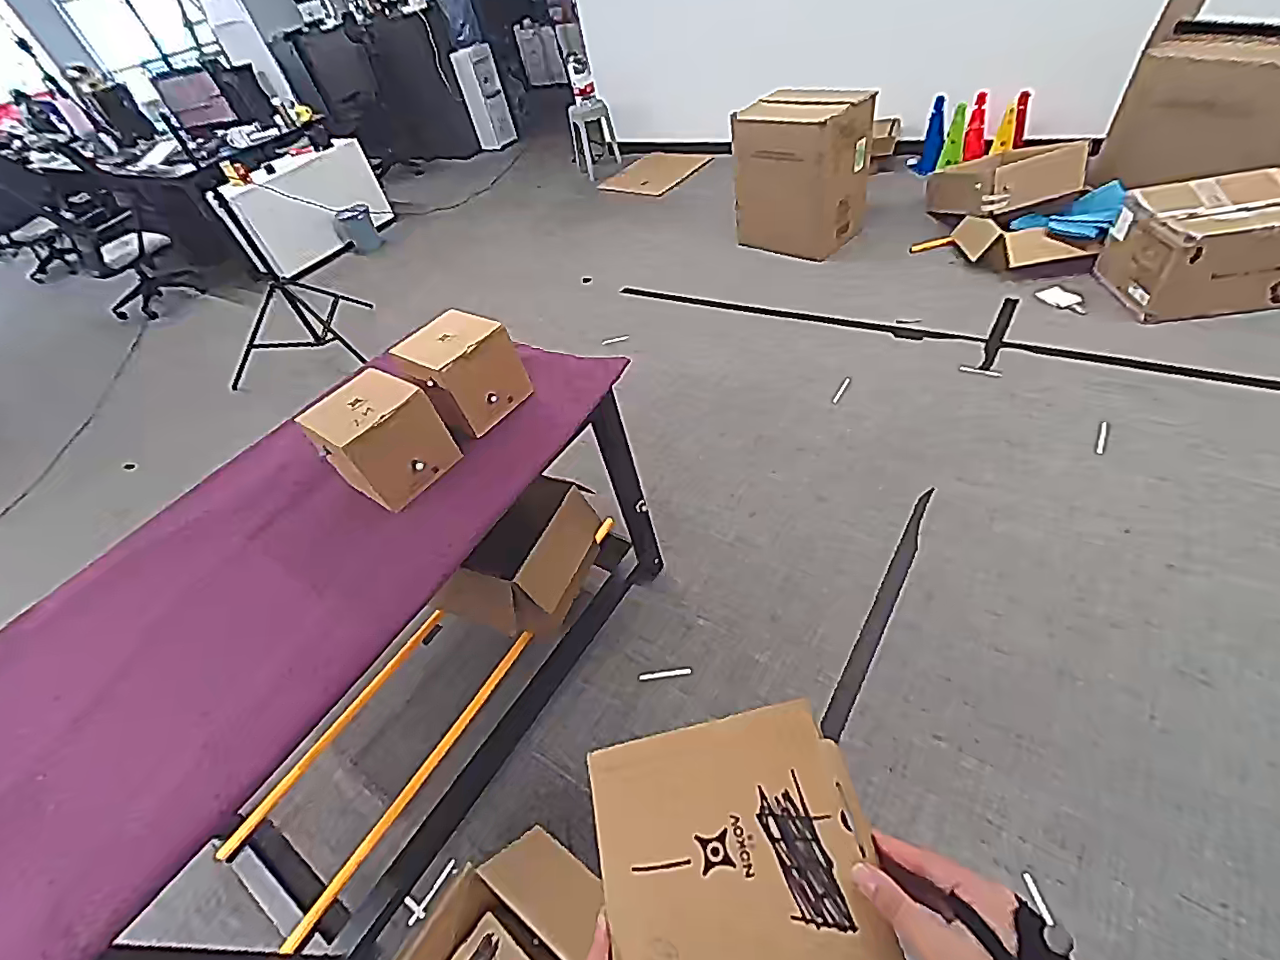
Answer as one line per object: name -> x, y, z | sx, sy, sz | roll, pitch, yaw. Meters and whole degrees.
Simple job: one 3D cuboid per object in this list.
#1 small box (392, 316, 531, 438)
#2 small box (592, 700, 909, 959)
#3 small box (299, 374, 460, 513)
small box -> -0.357, -0.209, 1.104 | 0.179, 0.176, 0.168 | 22, 57, 33
small box -> 0.073, 0.296, 0.425 | 0.179, 0.176, 0.168 | -15, 50, 0
small box -> -0.472, -0.066, 1.000 | 0.179, 0.176, 0.168 | 22, 57, 32
